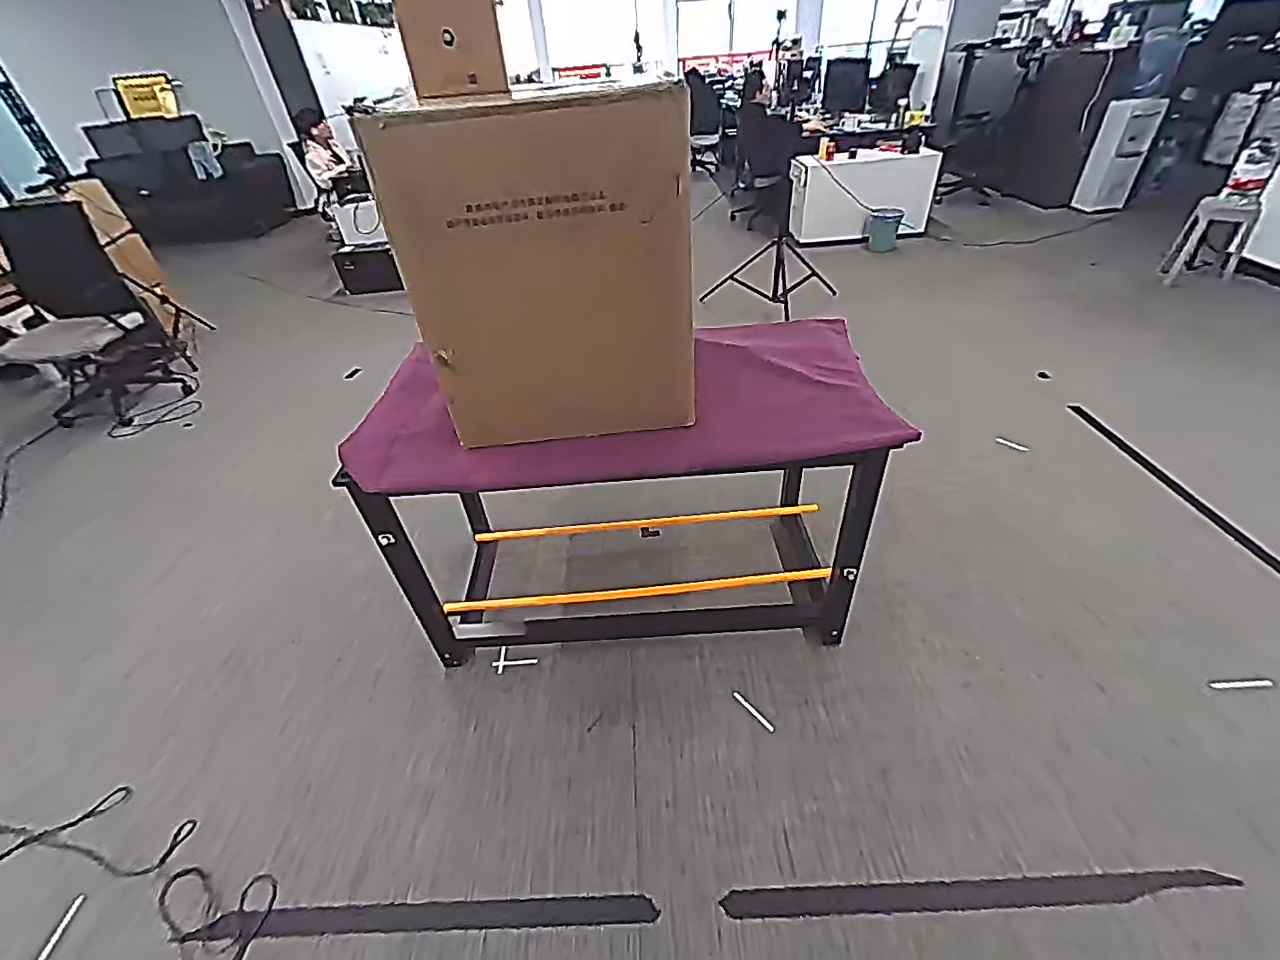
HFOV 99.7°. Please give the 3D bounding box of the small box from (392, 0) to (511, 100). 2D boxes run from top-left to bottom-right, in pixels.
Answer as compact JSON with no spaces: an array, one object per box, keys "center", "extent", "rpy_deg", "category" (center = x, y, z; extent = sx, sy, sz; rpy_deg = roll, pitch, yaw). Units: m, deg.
[{"center":[-0.331,-0.796,0.978],"extent":[0.168,0.176,0.179],"rpy_deg":[-8,39,-6],"category":"small box"}]
